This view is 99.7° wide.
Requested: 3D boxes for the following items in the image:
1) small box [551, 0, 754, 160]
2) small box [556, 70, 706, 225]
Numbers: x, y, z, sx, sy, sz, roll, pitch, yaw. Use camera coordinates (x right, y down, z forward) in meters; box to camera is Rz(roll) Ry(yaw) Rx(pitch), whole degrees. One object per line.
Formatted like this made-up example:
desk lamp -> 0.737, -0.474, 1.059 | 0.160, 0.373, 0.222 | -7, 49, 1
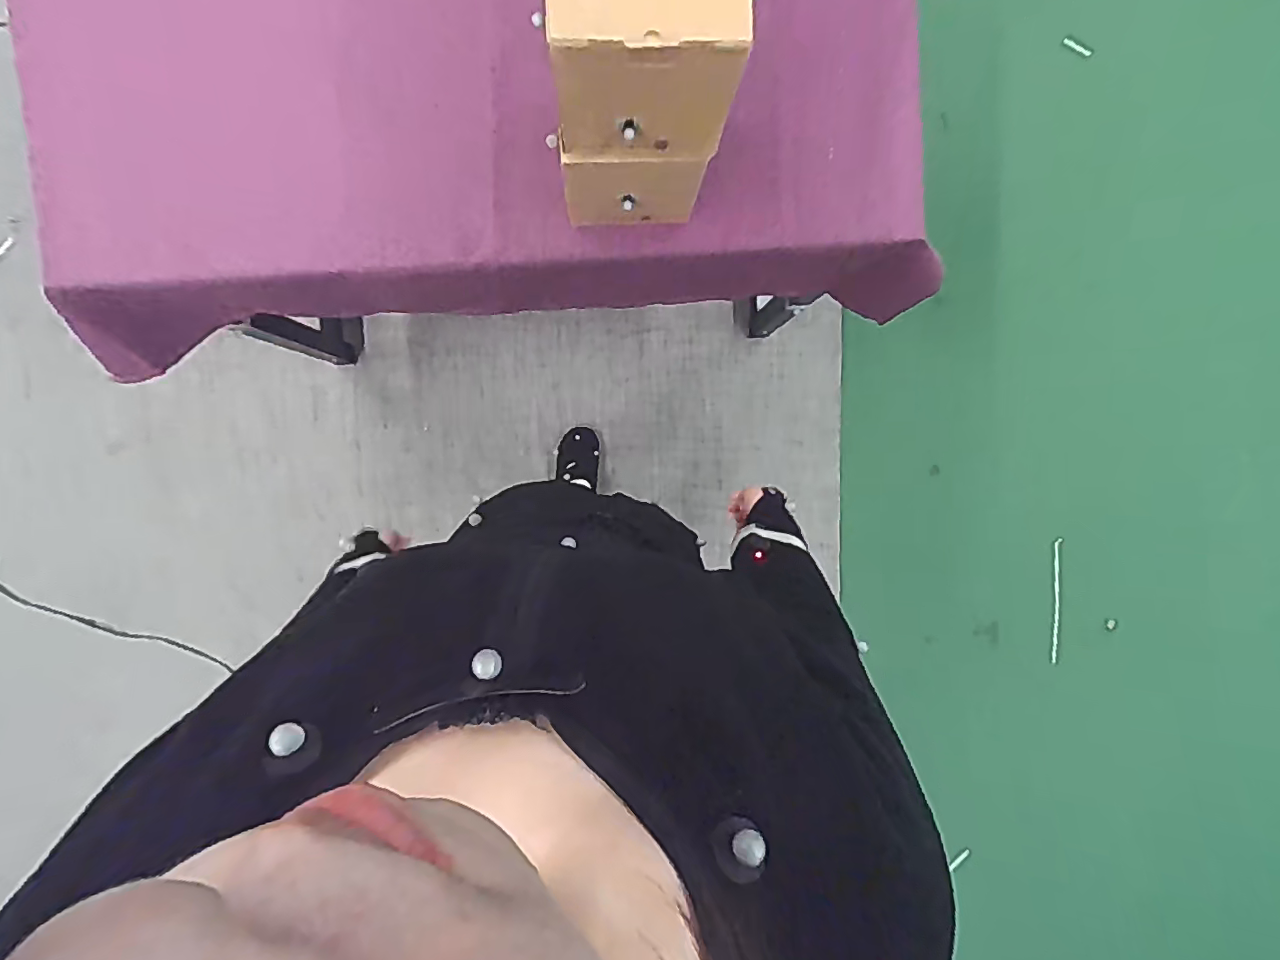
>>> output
small box -> 0.003, -0.434, 0.509 | 0.168, 0.176, 0.179 | -3, 94, -4
small box -> -0.014, -0.434, 0.671 | 0.168, 0.176, 0.179 | -3, 93, -4
